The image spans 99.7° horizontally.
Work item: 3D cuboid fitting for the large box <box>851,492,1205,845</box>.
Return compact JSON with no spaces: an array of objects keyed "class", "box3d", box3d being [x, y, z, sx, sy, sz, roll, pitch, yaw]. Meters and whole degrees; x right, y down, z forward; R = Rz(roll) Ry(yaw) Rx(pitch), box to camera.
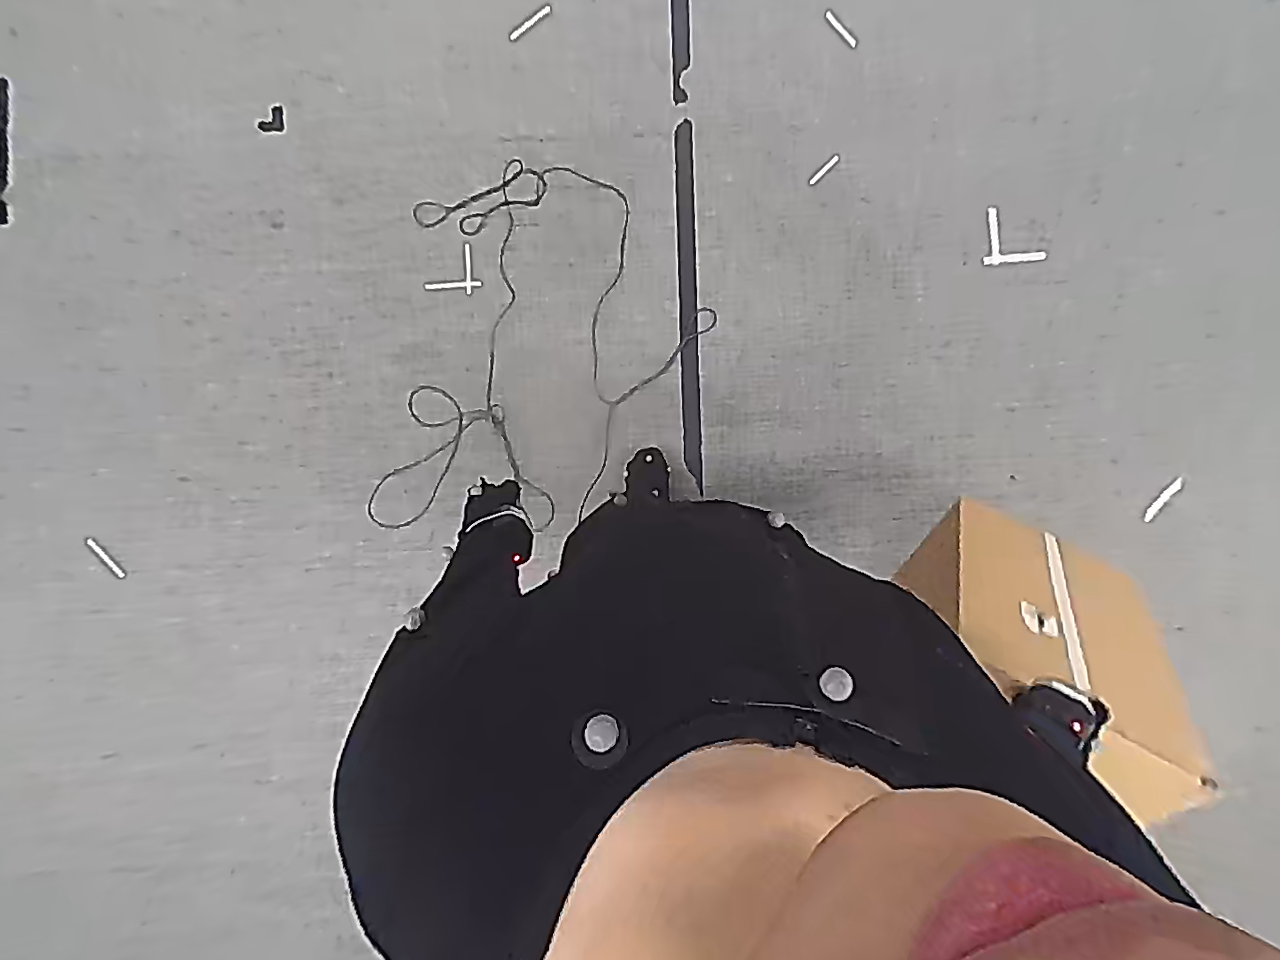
[{"class":"large box","box3d":[0.594,0.297,0.921,0.320,0.408,0.320,26,130,12]}]
